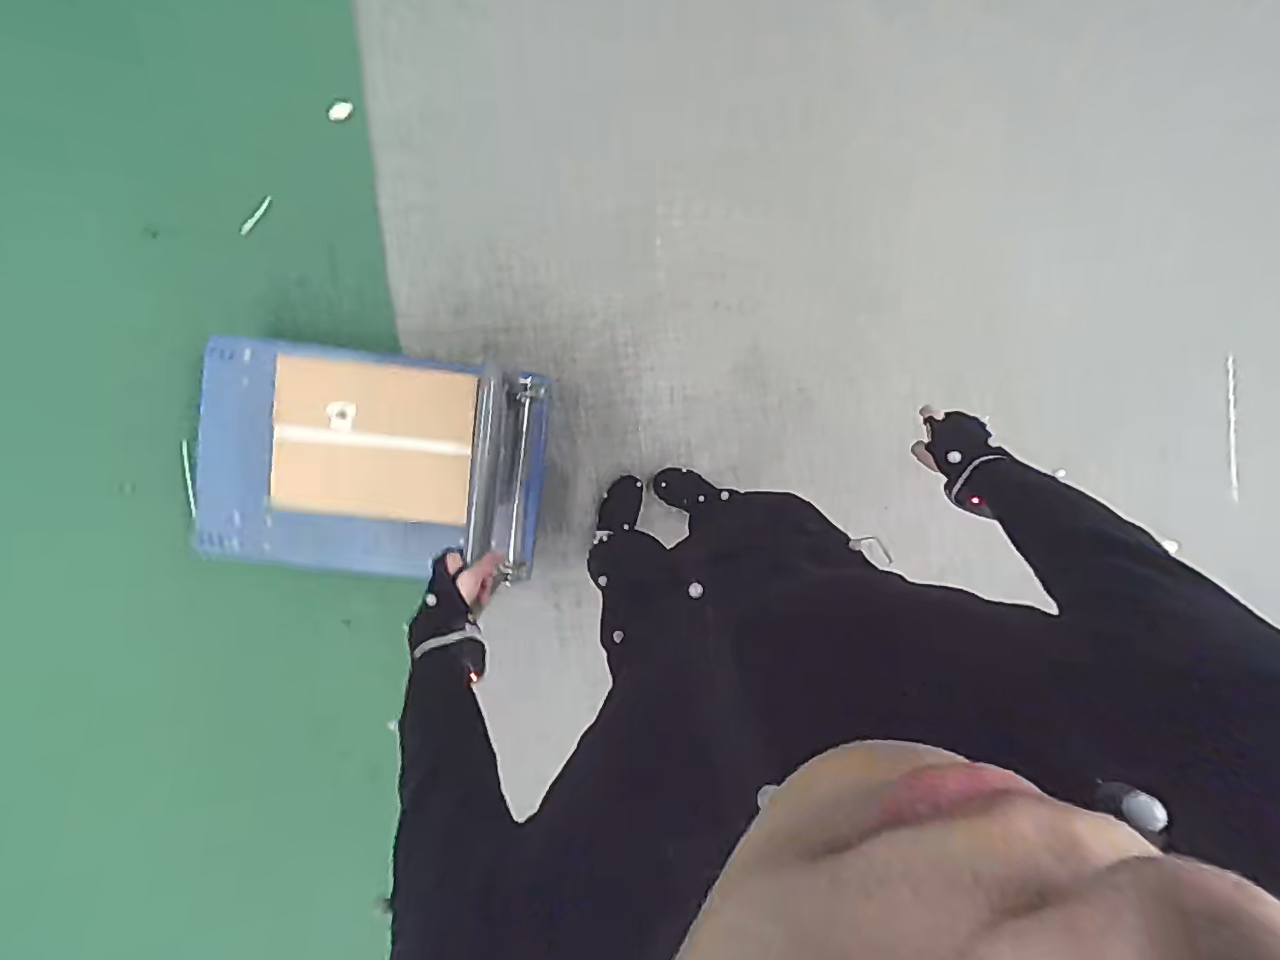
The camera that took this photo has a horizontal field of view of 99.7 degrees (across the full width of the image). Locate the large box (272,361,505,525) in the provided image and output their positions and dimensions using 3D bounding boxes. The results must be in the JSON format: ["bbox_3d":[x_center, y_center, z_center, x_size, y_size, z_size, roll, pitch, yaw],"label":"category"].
[{"bbox_3d":[-0.546,-0.084,1.246,0.408,0.320,0.320,5,93,-3],"label":"large box"}]
